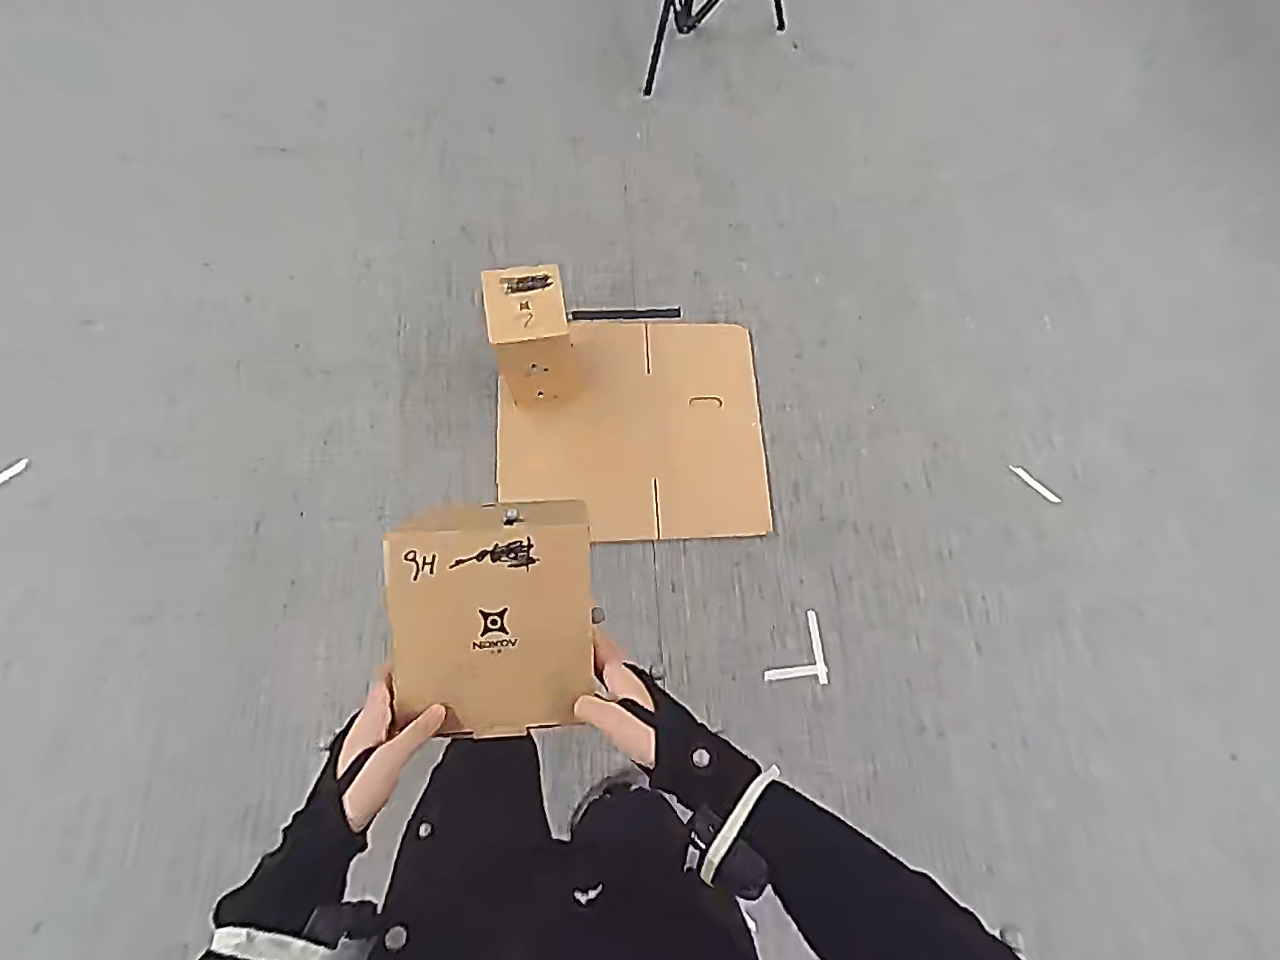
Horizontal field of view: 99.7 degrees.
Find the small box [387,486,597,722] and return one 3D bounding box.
[{"bbox_3d":[-0.129,0.105,0.528,0.168,0.176,0.179,-3,96,-8],"label":"small box"}]

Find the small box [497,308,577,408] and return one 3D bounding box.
[{"bbox_3d":[-0.256,-0.305,1.367,0.168,0.176,0.179,-12,76,-7],"label":"small box"}]
